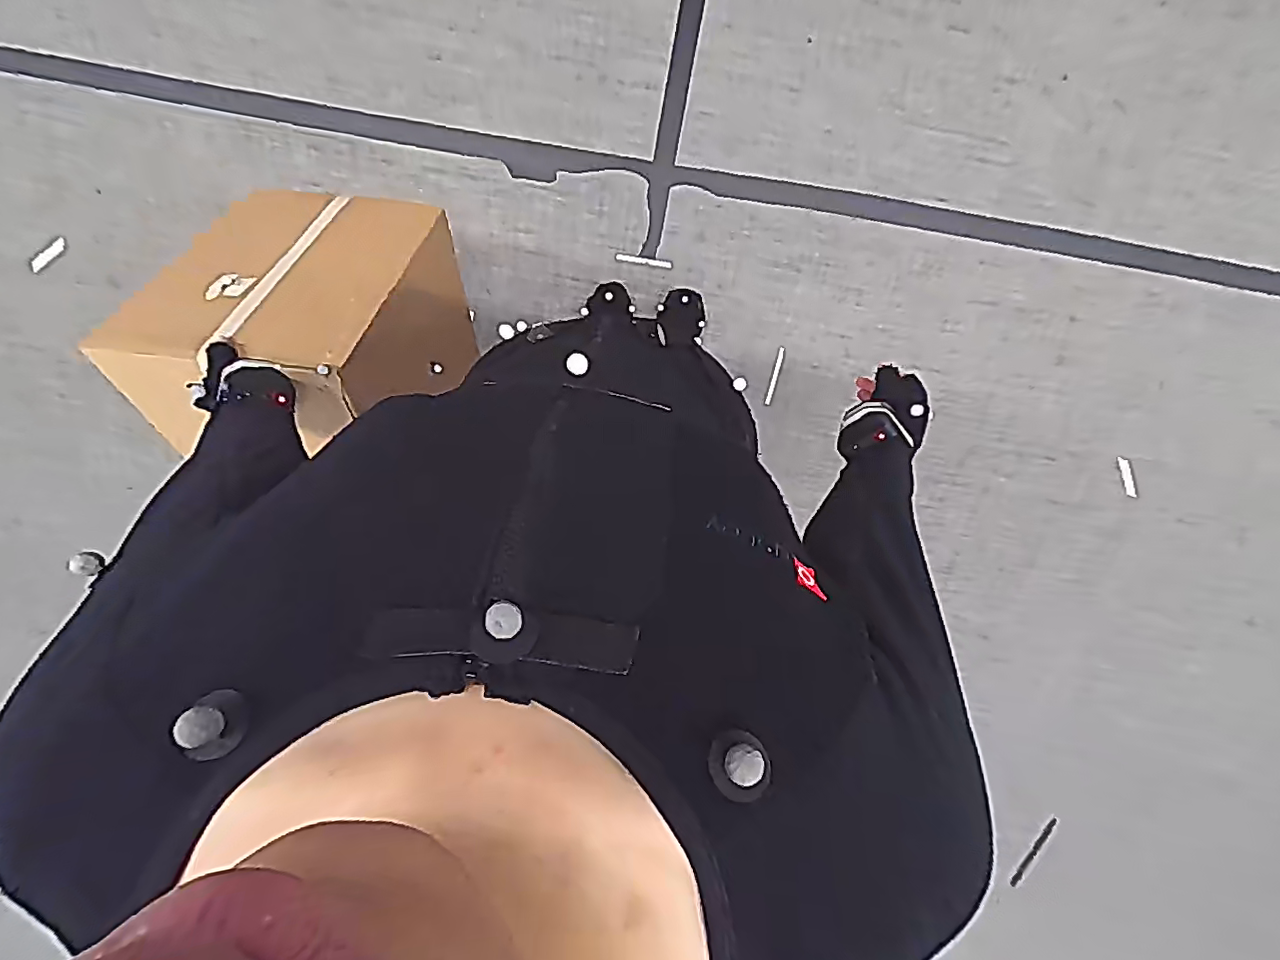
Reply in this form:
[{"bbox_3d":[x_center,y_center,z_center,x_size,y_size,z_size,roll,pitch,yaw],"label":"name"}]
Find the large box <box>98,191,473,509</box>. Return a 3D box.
[{"bbox_3d":[-0.502,-0.213,0.891,0.320,0.408,0.320,6,144,2],"label":"large box"}]
